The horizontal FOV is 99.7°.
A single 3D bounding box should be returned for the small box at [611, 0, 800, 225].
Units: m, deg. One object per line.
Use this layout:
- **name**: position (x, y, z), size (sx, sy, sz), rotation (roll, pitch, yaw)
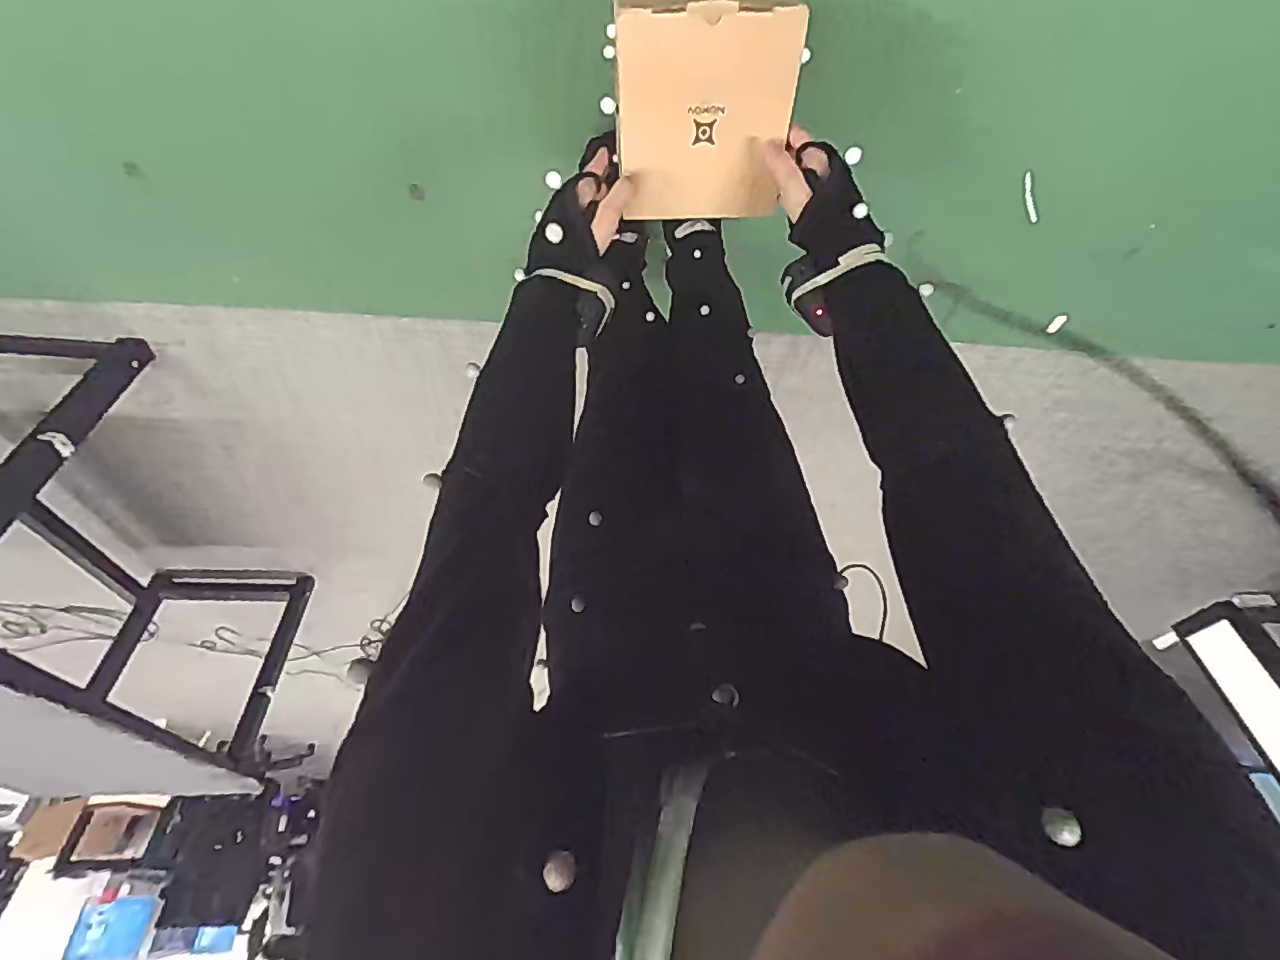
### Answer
- **small box**: position (0.056, -0.397, 0.577), size (0.168, 0.176, 0.179), rotation (-1, 139, -1)
